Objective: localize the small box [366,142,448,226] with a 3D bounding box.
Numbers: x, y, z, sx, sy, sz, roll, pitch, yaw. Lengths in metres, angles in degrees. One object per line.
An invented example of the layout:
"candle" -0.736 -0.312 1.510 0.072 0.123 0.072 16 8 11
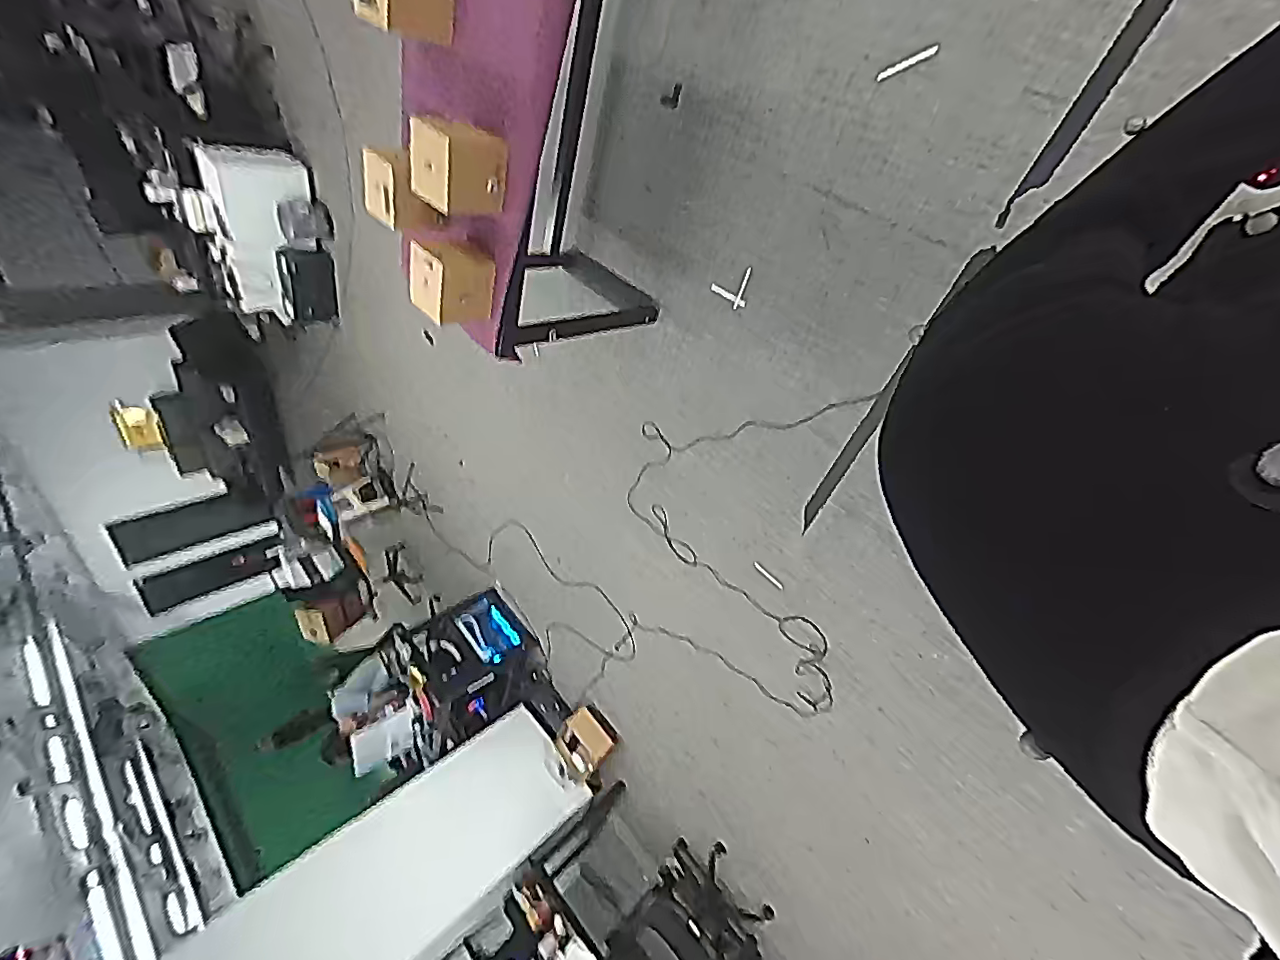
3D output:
"small box" -0.664 -0.854 1.561 0.179 0.176 0.168 41 133 25

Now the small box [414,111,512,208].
"small box" -0.448 -0.800 1.361 0.179 0.176 0.168 40 134 24

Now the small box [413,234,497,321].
"small box" -0.527 -0.582 1.544 0.168 0.176 0.179 42 134 24
